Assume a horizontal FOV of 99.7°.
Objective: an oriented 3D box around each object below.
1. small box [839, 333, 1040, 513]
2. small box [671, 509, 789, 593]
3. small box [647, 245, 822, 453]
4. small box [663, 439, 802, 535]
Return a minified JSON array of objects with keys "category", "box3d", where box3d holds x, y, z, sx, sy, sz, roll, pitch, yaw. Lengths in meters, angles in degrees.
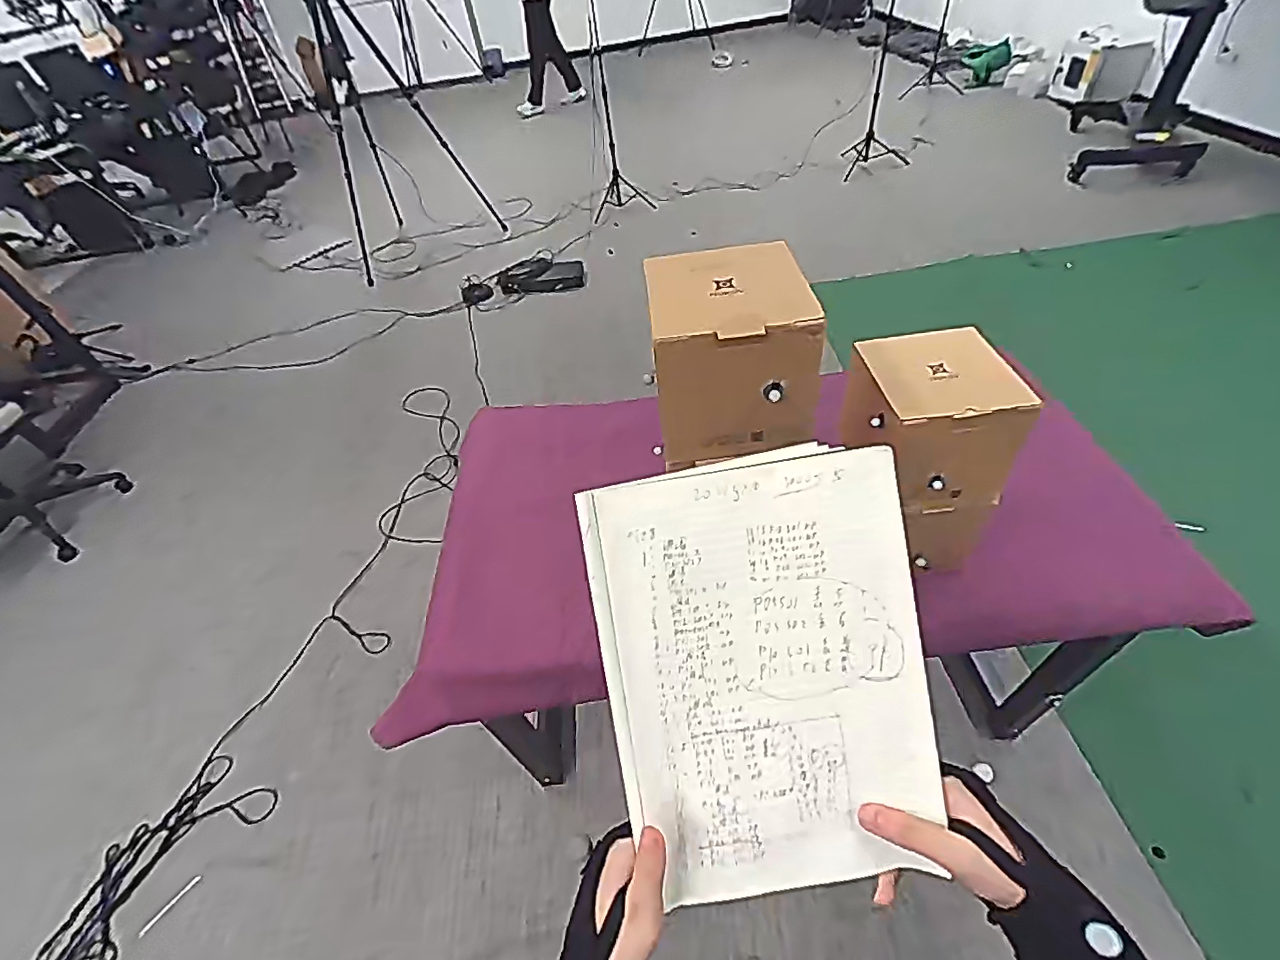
[{"category":"small box","box3d":[0.388,-0.077,0.744,0.168,0.176,0.179,-7,46,3]},{"category":"small box","box3d":[0.137,0.070,0.874,0.168,0.176,0.179,-7,47,3]},{"category":"small box","box3d":[0.100,-0.144,0.628,0.168,0.176,0.179,-6,46,3]},{"category":"small box","box3d":[0.118,-0.038,0.750,0.168,0.176,0.179,-7,46,3]}]
